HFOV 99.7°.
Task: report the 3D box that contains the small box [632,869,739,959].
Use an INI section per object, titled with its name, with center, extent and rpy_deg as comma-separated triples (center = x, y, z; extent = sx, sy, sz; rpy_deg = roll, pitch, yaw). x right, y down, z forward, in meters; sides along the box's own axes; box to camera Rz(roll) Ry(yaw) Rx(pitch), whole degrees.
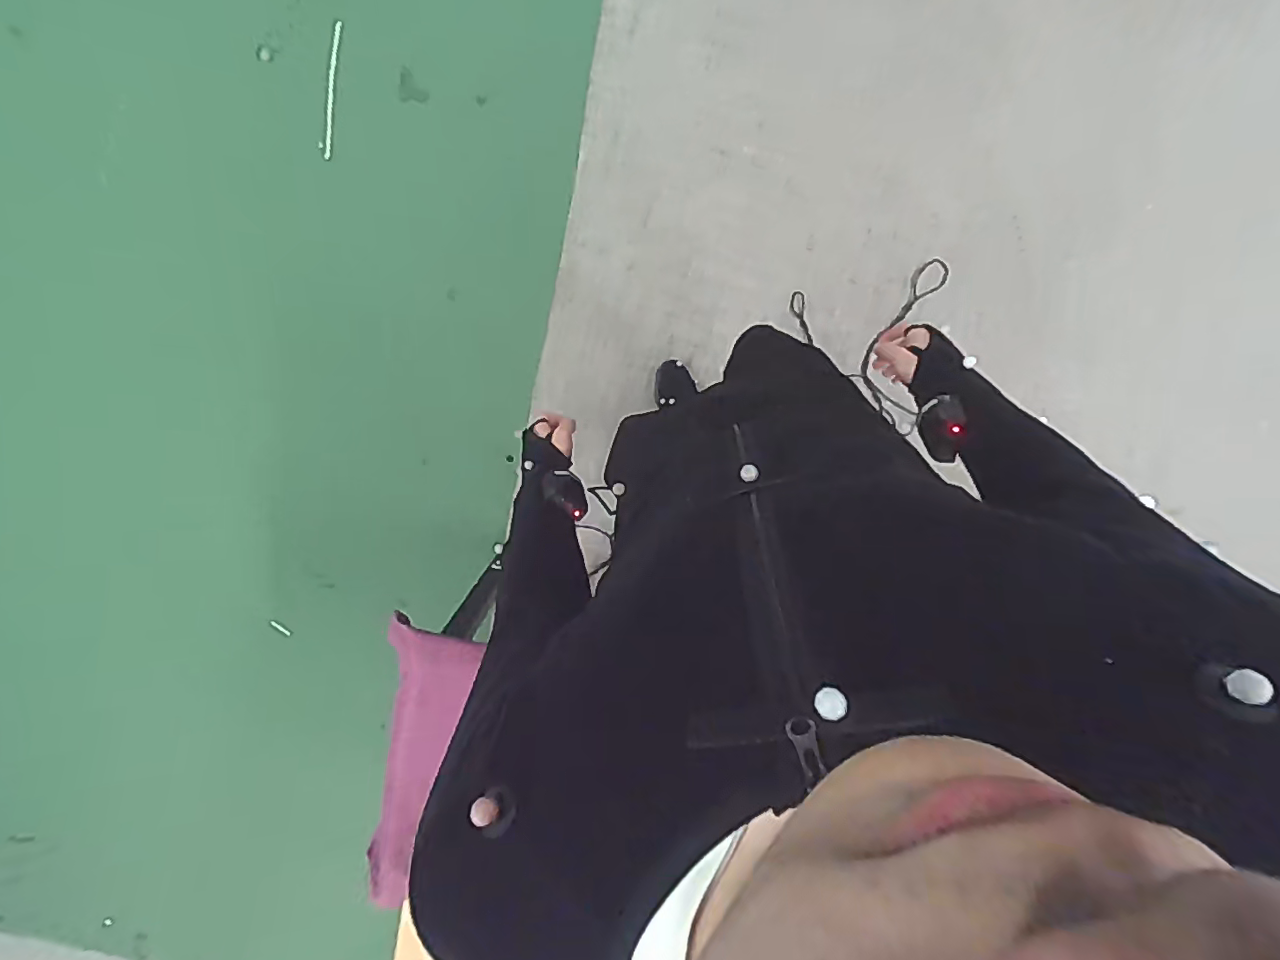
[small box]
center = 0.079, 0.890, 1.029
extent = 0.168, 0.176, 0.179
rpy_deg = 12, 105, 0
